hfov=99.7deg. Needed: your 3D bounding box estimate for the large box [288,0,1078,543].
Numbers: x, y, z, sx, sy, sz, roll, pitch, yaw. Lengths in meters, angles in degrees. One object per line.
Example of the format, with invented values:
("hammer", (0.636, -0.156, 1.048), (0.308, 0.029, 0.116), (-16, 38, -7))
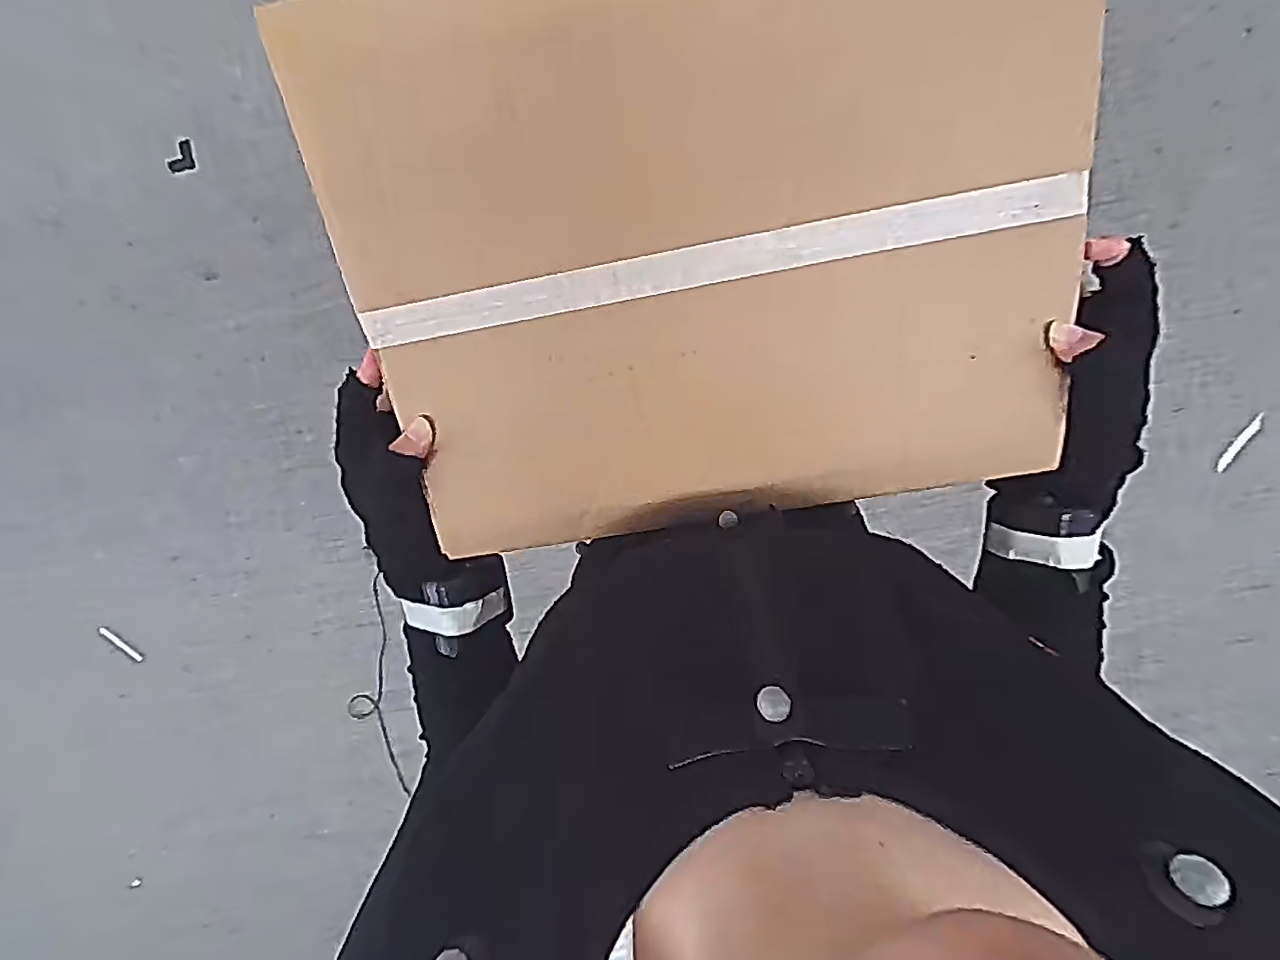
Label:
("large box", (0.038, -0.179, 0.452), (0.408, 0.320, 0.320), (-9, 111, 5))
